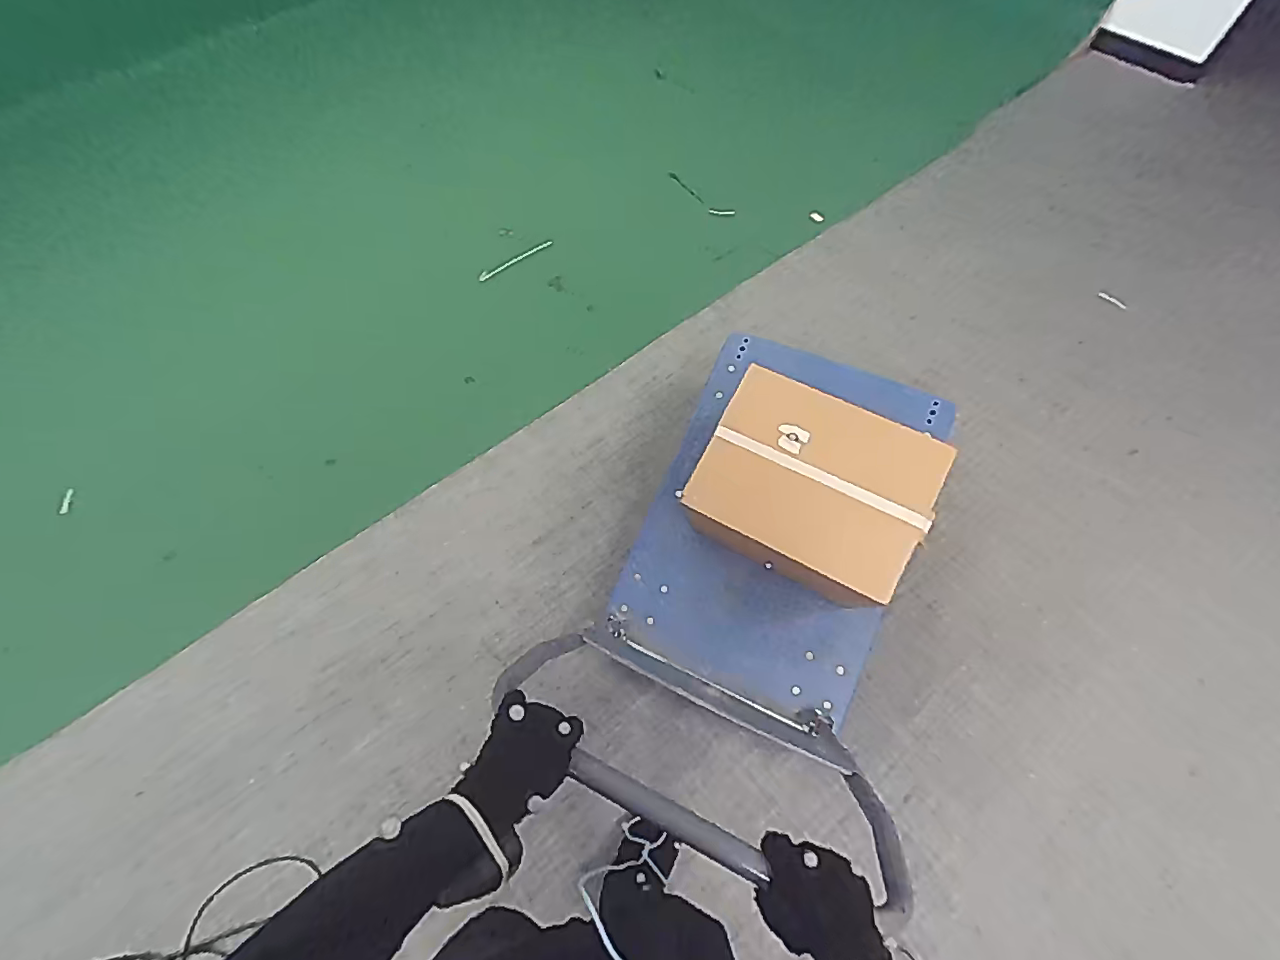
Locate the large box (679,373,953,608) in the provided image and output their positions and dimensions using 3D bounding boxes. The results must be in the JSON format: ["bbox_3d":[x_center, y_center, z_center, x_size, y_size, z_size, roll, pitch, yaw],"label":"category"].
[{"bbox_3d":[0.342,0.039,1.129,0.408,0.320,0.320,27,82,15],"label":"large box"}]
